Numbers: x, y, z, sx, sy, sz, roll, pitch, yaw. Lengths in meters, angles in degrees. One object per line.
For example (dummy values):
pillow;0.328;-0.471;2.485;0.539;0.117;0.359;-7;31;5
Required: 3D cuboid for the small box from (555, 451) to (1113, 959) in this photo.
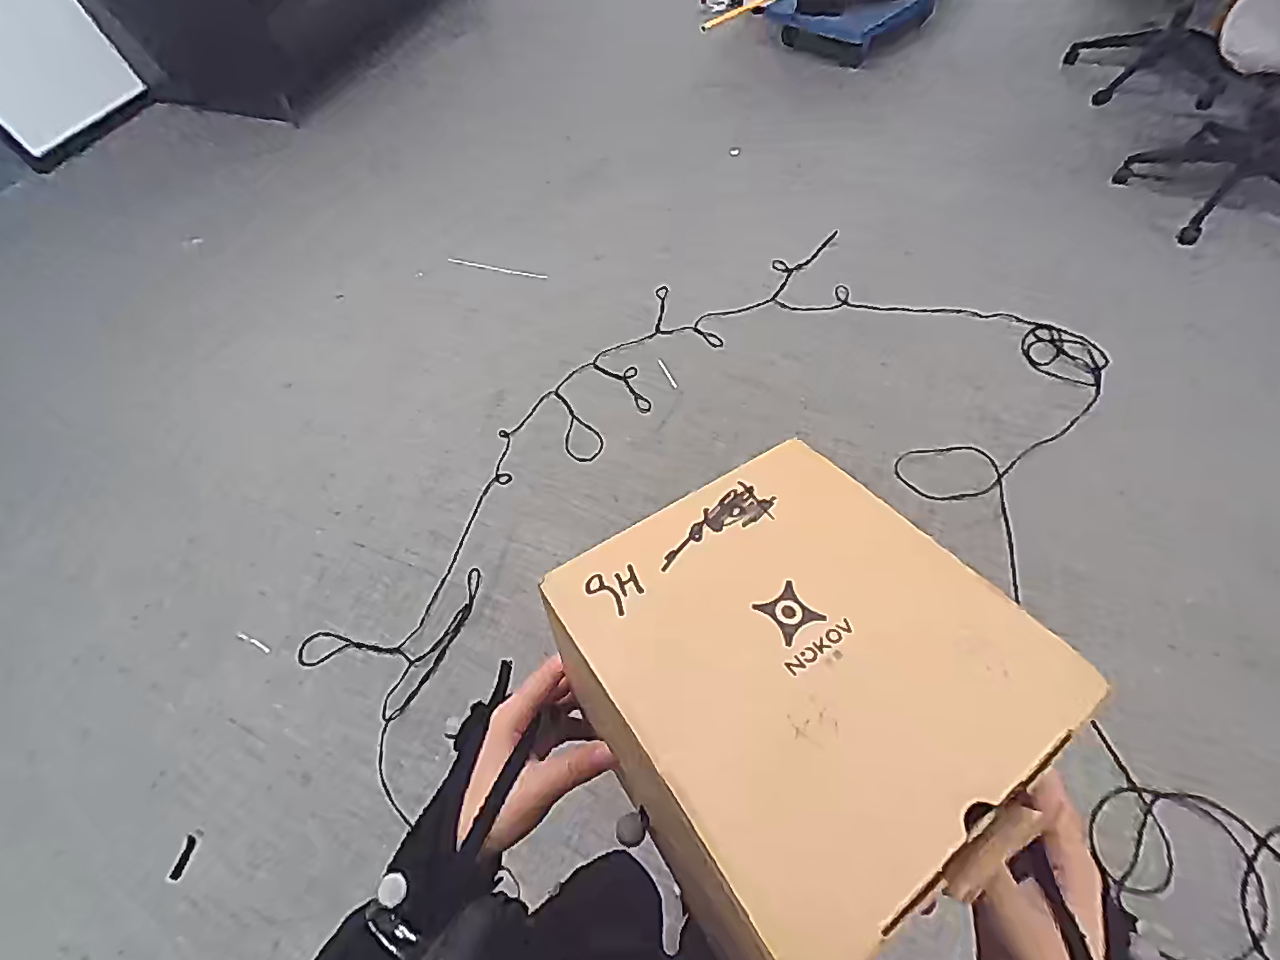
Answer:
small box;0.074;0.123;0.292;0.168;0.176;0.179;-26;53;-20
